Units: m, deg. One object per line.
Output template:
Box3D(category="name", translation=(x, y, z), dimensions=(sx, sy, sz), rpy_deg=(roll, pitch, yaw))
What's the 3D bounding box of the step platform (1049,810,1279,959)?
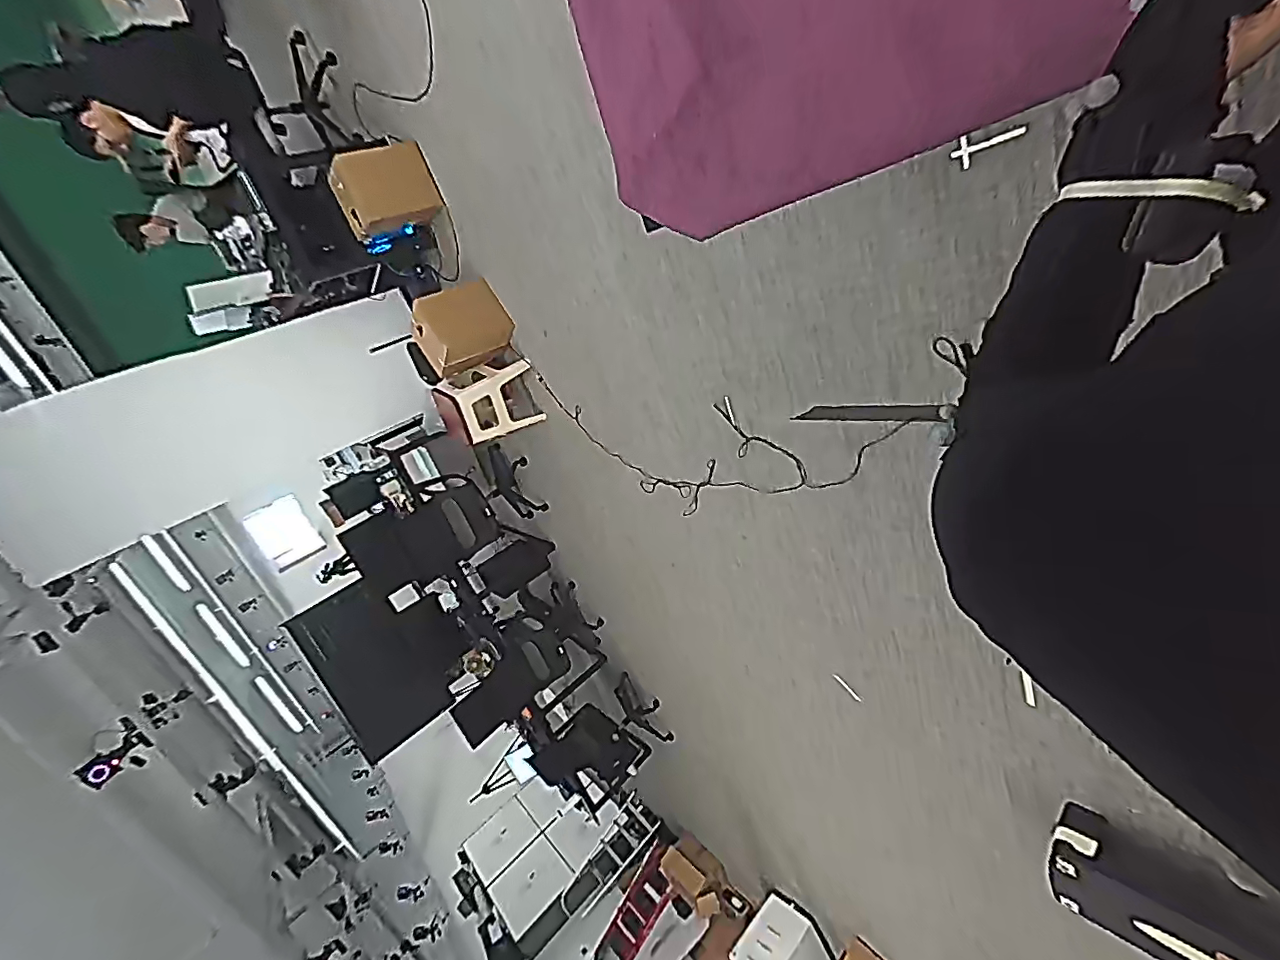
Box3D(category="step platform", translation=(1.584, 1.271, 1.525), dimensions=(0.684, 0.204, 0.286), rpy_deg=(8, 126, 51))
